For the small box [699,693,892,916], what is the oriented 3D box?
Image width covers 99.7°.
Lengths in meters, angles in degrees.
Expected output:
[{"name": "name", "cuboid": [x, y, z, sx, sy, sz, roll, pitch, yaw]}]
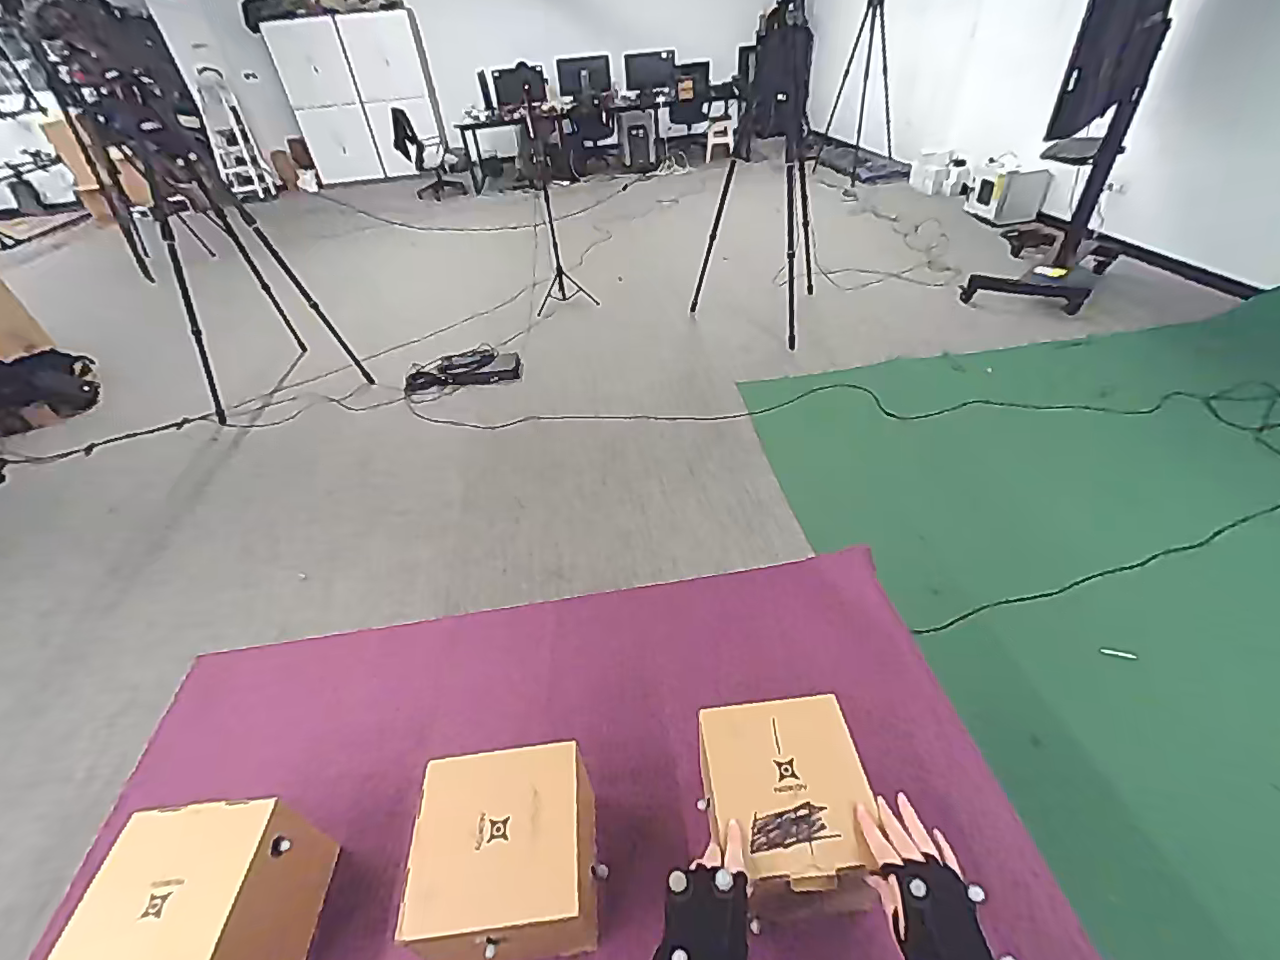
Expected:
[{"name": "small box", "cuboid": [0.165, 0.380, 0.630, 0.168, 0.176, 0.179, -7, 39, 0]}]

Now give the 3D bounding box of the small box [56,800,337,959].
[{"name": "small box", "cuboid": [-0.472, 0.488, 0.598, 0.168, 0.176, 0.179, -6, 39, 1]}]

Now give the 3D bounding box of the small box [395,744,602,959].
[{"name": "small box", "cuboid": [-0.144, 0.431, 0.618, 0.179, 0.176, 0.168, -7, 40, -1]}]
